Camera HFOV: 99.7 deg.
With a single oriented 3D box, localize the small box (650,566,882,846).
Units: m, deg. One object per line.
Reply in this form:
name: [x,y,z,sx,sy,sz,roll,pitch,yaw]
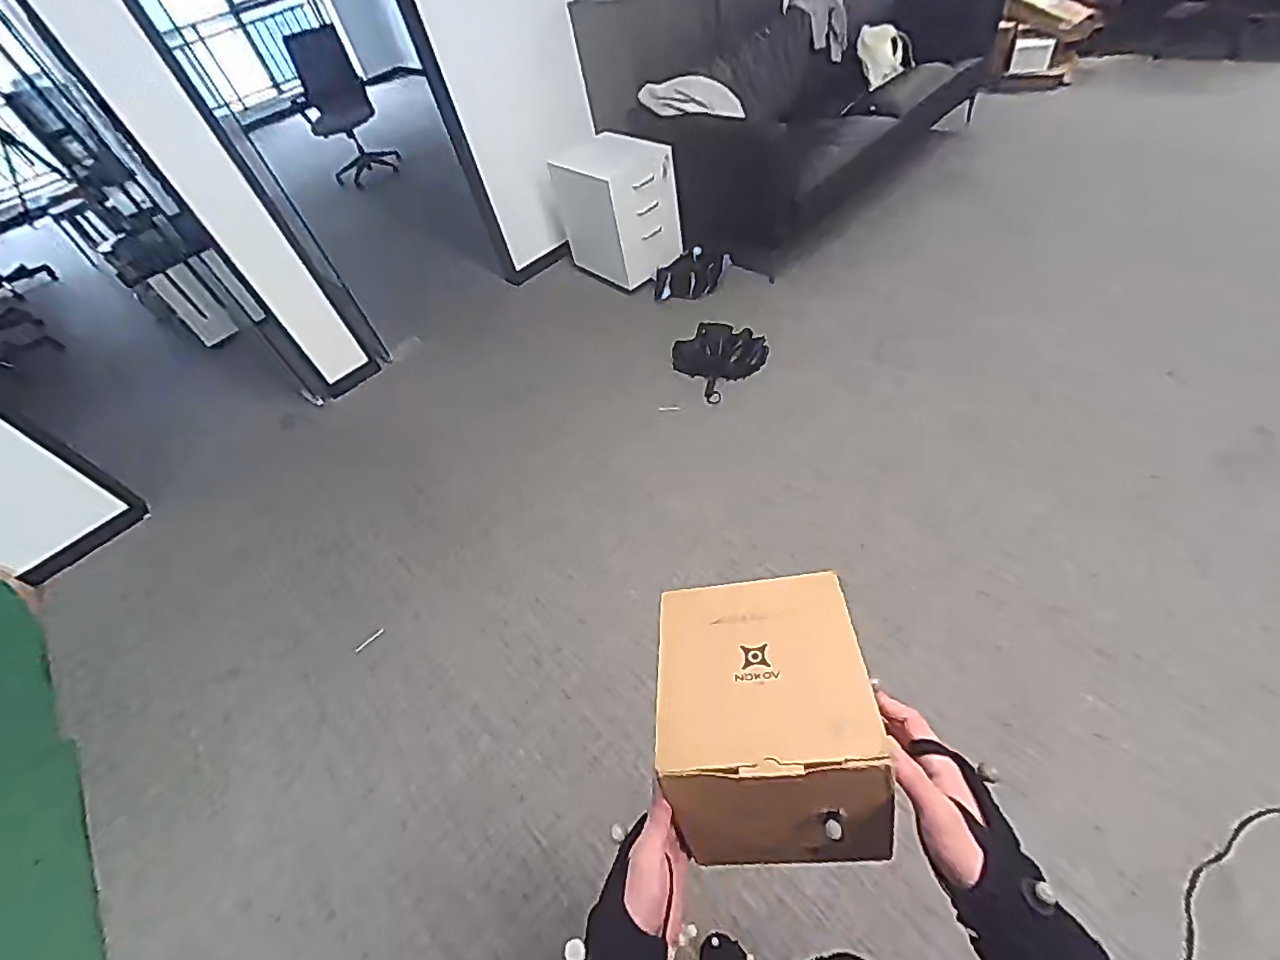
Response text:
small box: [0.110,0.206,0.488,0.168,0.176,0.179,-9,35,10]
